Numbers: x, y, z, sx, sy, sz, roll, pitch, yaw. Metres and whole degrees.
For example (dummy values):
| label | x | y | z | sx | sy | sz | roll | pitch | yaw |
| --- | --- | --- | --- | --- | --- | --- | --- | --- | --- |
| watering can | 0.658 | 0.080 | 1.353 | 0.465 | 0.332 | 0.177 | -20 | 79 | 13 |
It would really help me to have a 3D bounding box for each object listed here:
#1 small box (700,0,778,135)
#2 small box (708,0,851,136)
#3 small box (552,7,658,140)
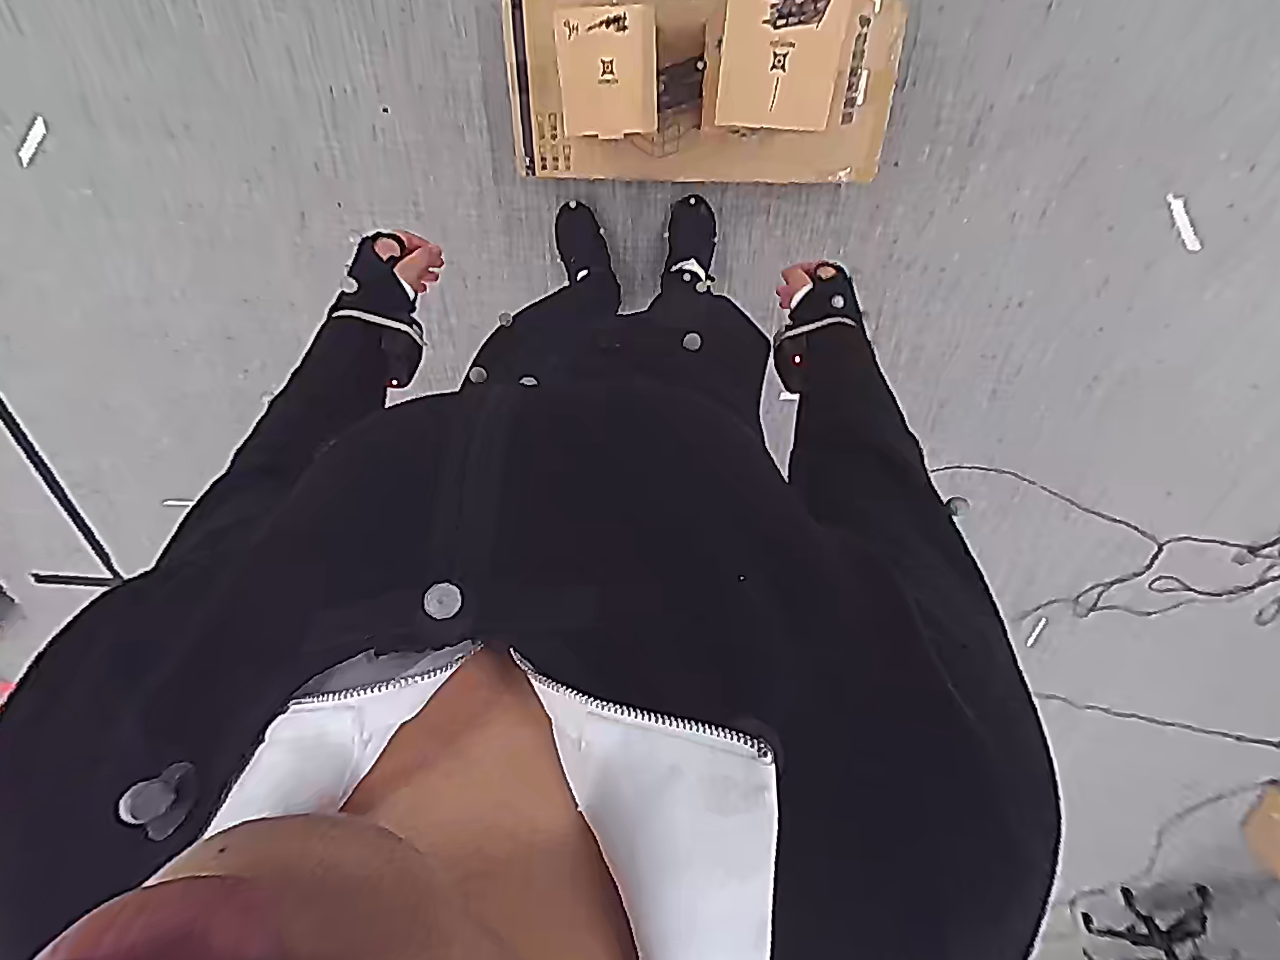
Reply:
| label | x | y | z | sx | sy | sz | roll | pitch | yaw |
| --- | --- | --- | --- | --- | --- | --- | --- | --- | --- |
| small box | 0.195 | -0.716 | 0.955 | 0.168 | 0.176 | 0.179 | 1 | 122 | 2 |
| small box | 0.197 | -0.630 | 0.815 | 0.168 | 0.176 | 0.179 | 5 | 123 | 0 |
| small box | -0.053 | -0.717 | 0.966 | 0.168 | 0.176 | 0.179 | 0 | 123 | 3 |
